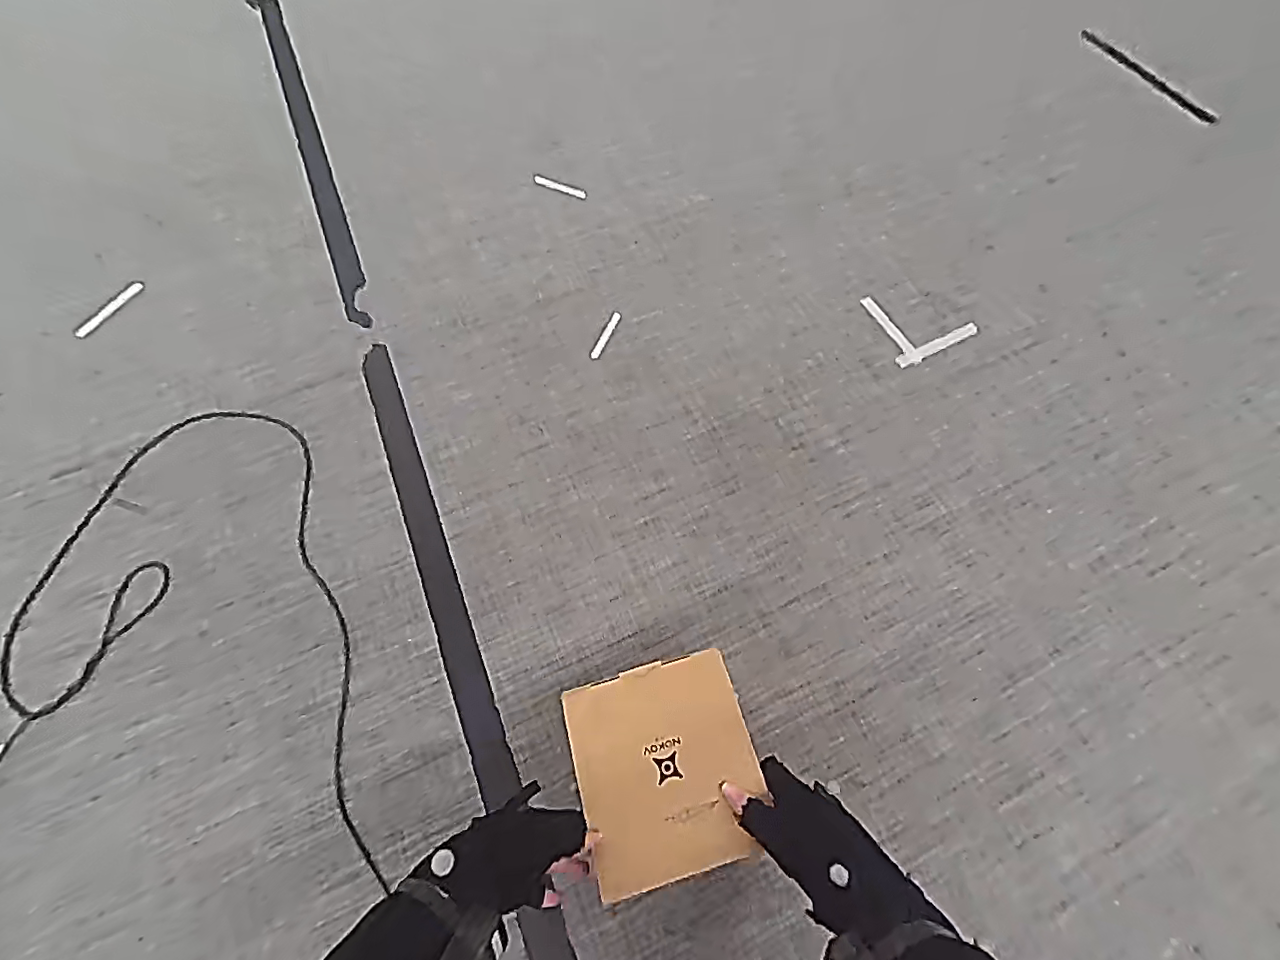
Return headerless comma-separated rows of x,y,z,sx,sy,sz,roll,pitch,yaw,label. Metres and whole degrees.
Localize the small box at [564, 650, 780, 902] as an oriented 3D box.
0.025,0.303,0.570,0.168,0.176,0.179,-14,61,-6,small box
